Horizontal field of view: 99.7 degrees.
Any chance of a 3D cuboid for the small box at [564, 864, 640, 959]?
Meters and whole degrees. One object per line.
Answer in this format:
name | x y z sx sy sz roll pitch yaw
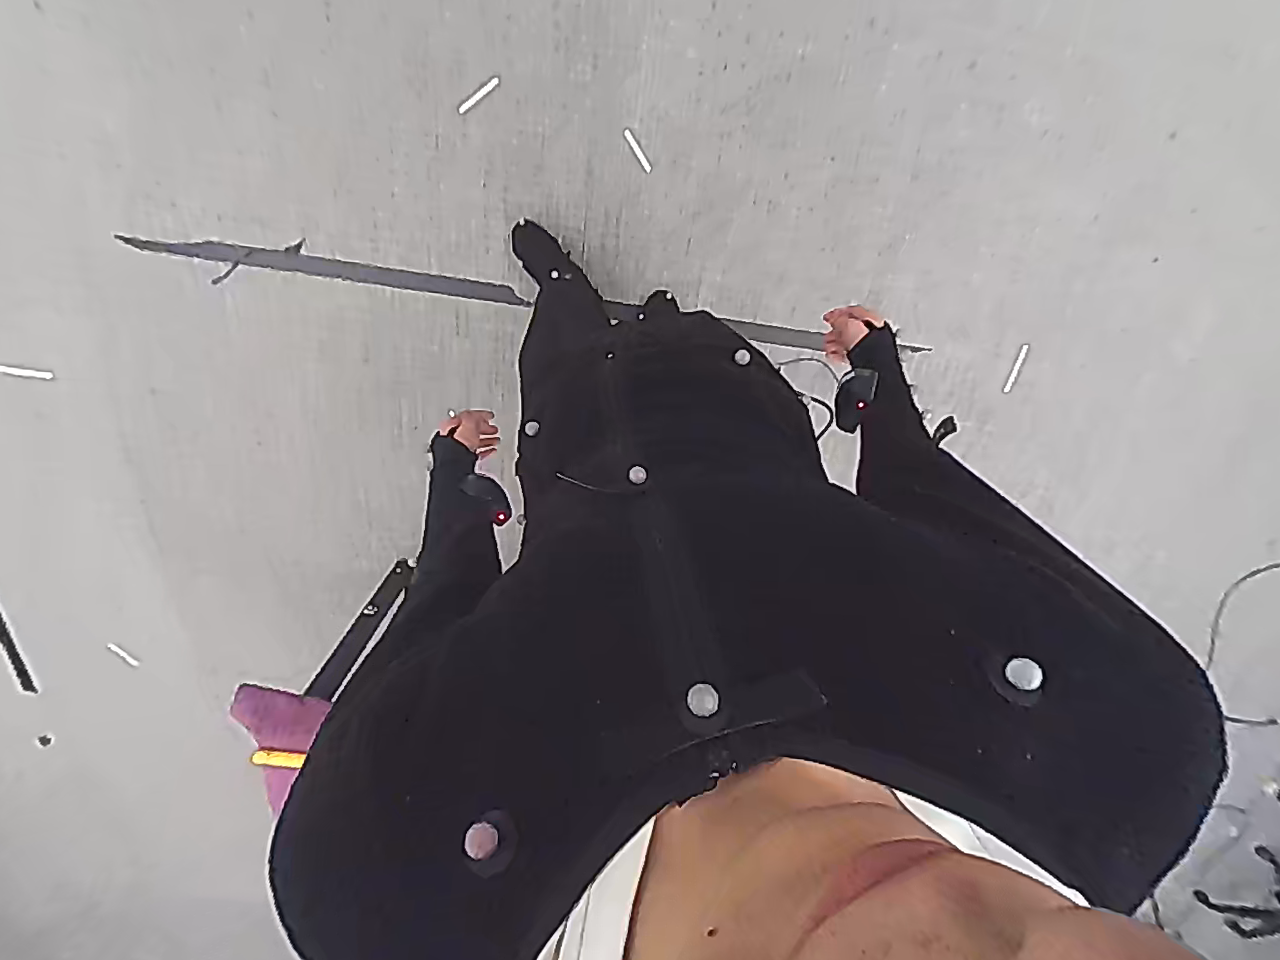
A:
small box | -0.091 1.090 1.328 0.168 0.176 0.179 8 113 -3
